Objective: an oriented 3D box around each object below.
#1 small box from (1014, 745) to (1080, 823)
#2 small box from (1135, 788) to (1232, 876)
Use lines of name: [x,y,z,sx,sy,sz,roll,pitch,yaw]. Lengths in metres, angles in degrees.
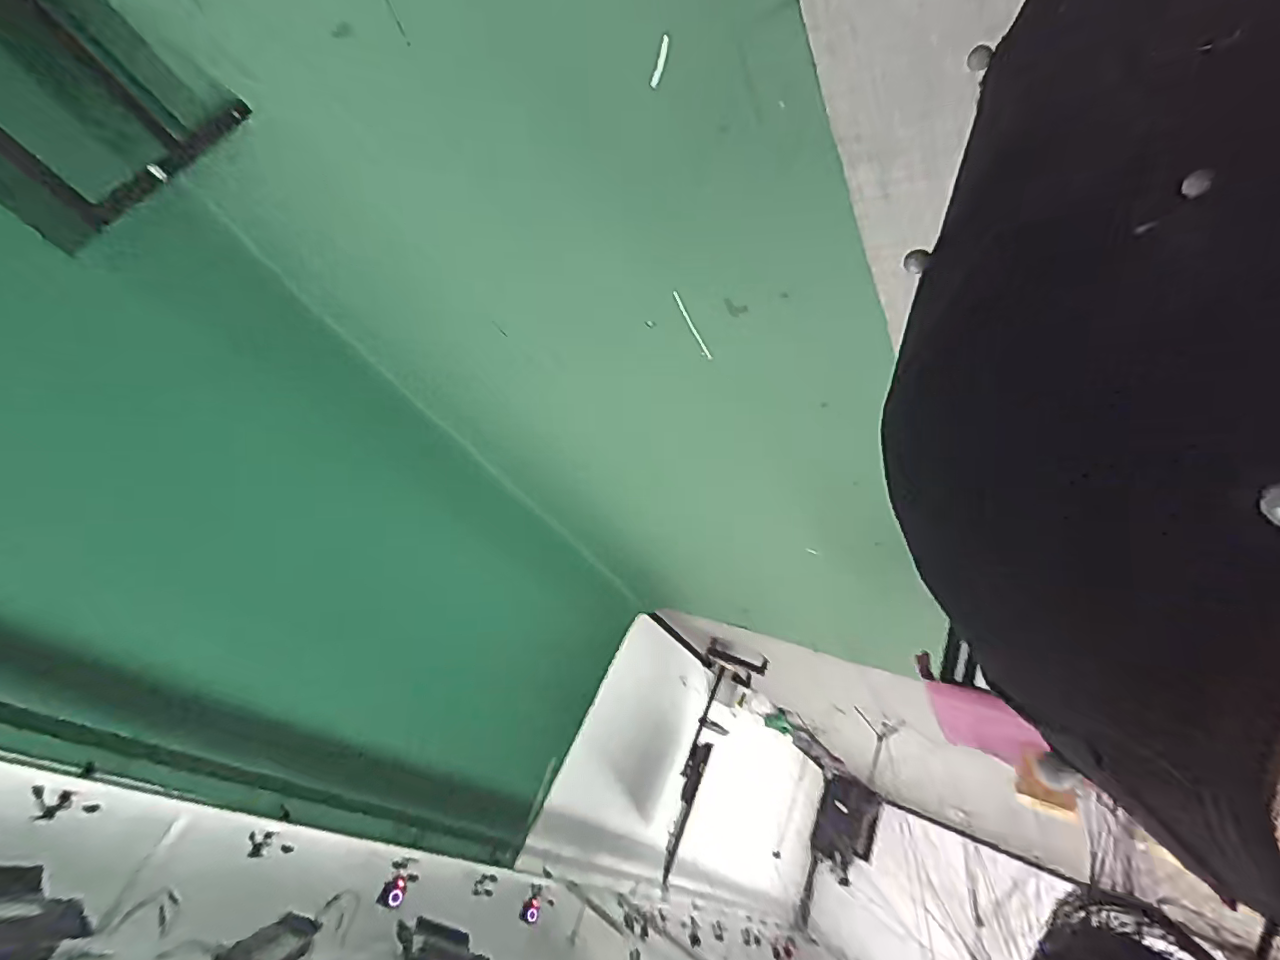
small box: [1.387,1.031,1.844,0.168,0.176,0.179,5,147,41]
small box: [1.638,1.060,1.638,0.168,0.176,0.179,13,151,32]
